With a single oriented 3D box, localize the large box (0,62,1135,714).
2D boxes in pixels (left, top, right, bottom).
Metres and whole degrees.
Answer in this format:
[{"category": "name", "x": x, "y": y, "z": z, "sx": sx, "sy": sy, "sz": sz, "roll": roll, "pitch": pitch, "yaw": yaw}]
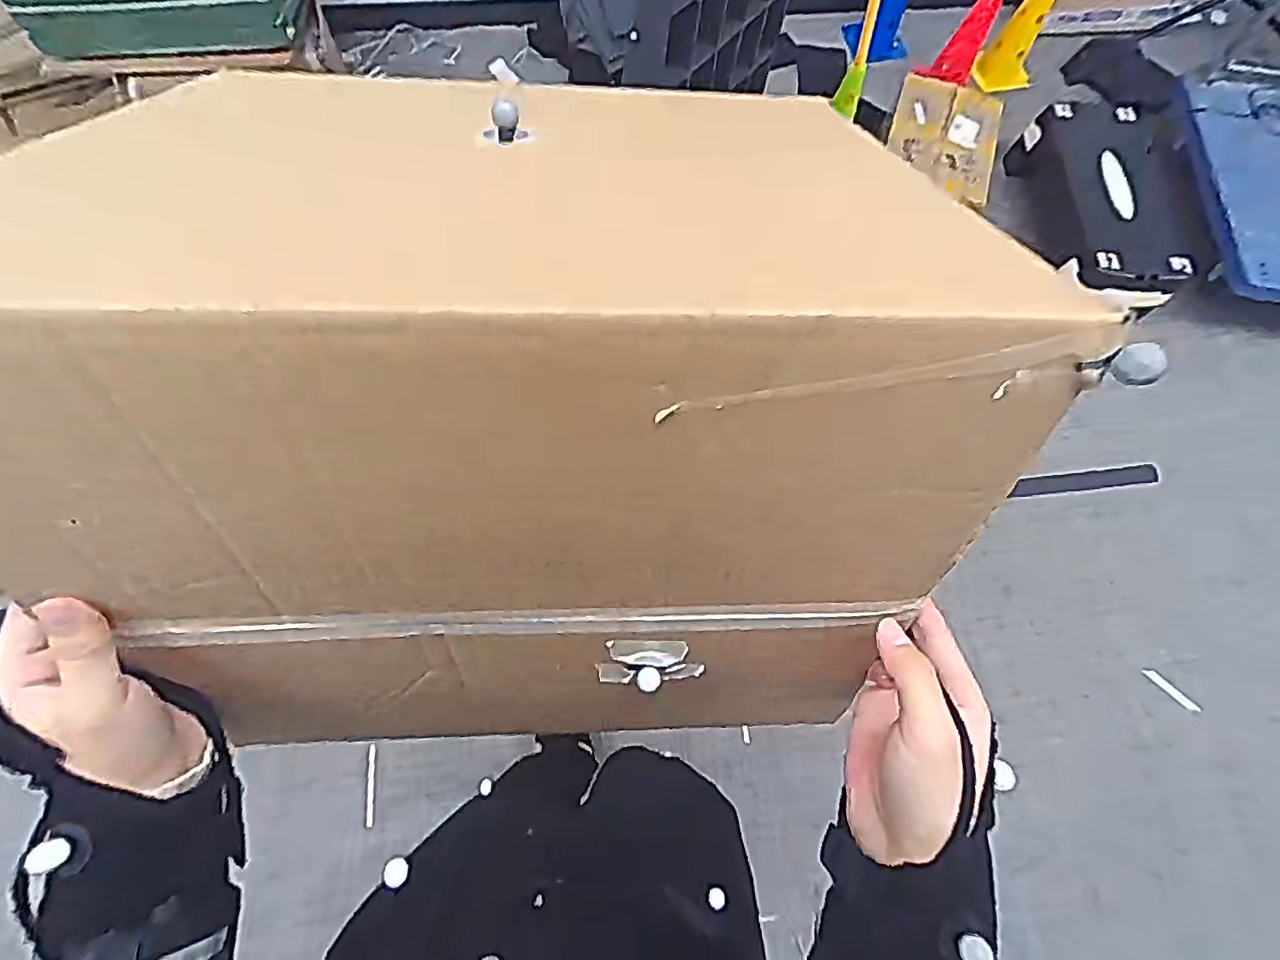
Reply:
[{"category": "large box", "x": -0.060, "y": -0.067, "z": 0.362, "sx": 0.408, "sy": 0.320, "sz": 0.320, "roll": -1, "pitch": 46, "yaw": -4}]
